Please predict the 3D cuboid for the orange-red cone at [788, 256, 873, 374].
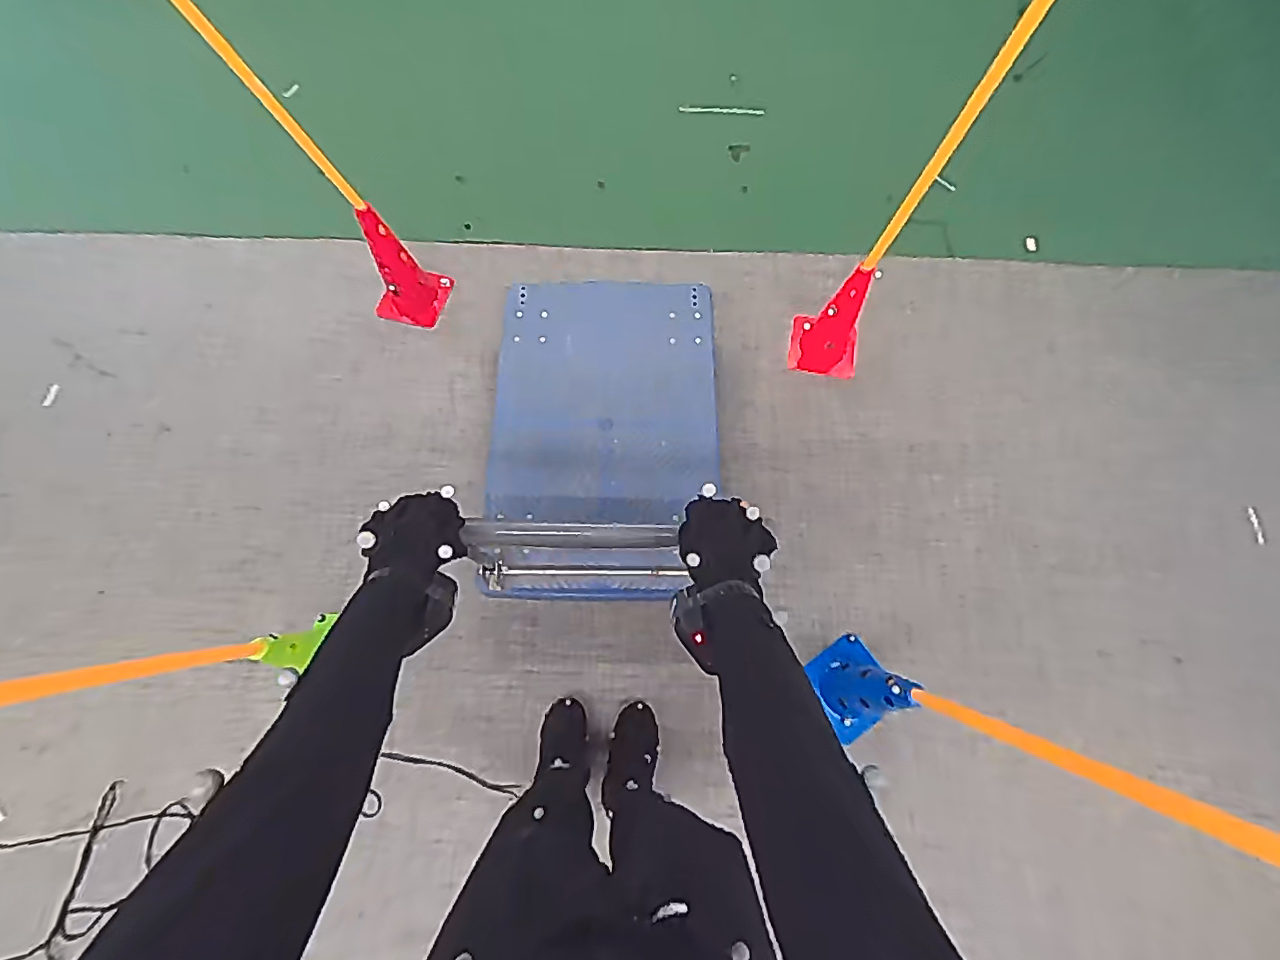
[{"bbox_3d":[0.557,-0.476,1.489,0.198,0.360,0.199,12,72,5],"label":"orange-red cone"}]
